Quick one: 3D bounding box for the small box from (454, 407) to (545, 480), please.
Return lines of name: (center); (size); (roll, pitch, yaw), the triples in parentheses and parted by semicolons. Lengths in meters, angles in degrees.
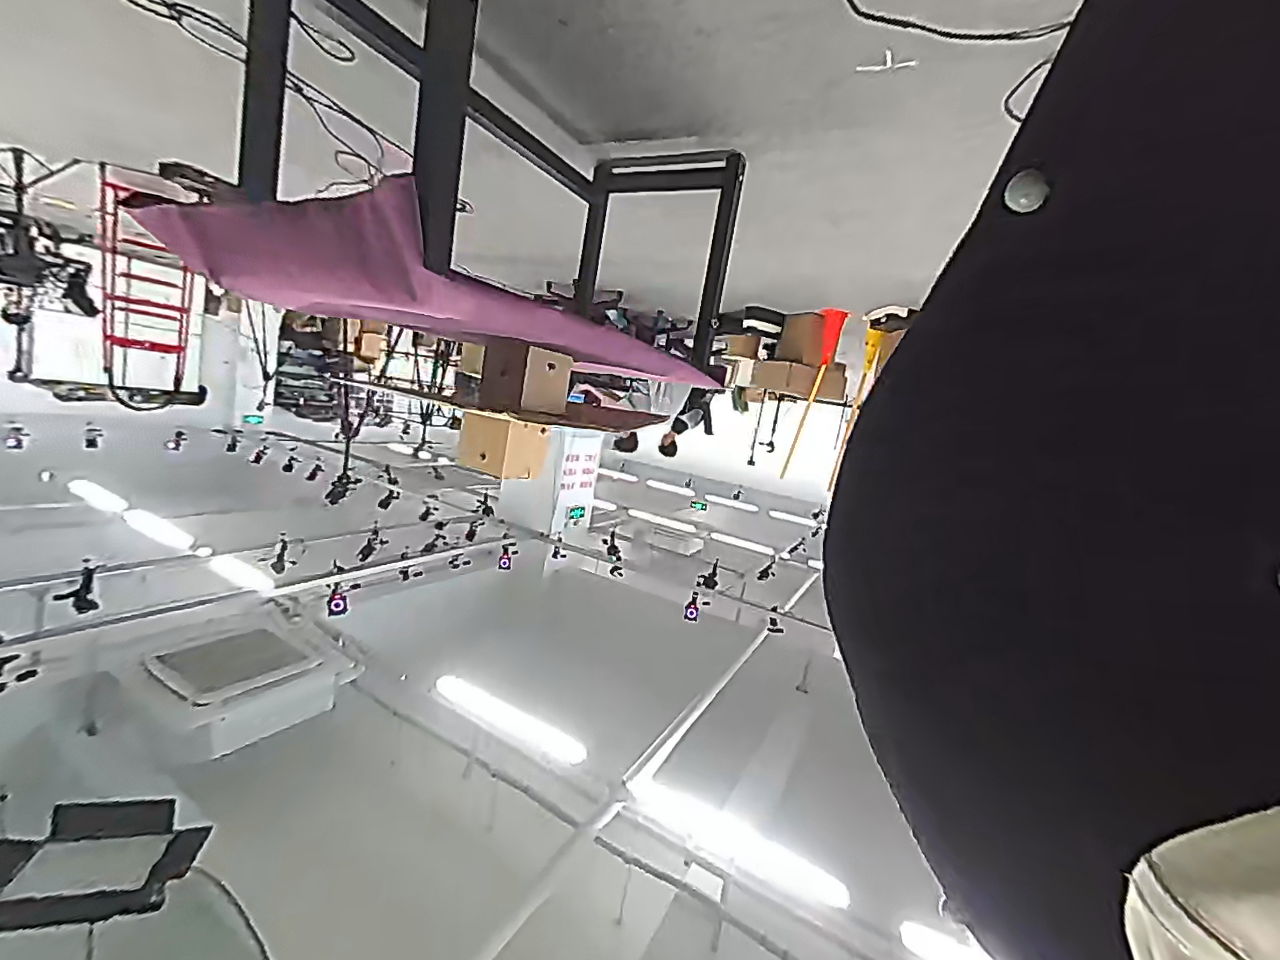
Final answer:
small box: (-0.374, -0.100, 1.459); (0.179, 0.176, 0.168); (15, -173, 29)
